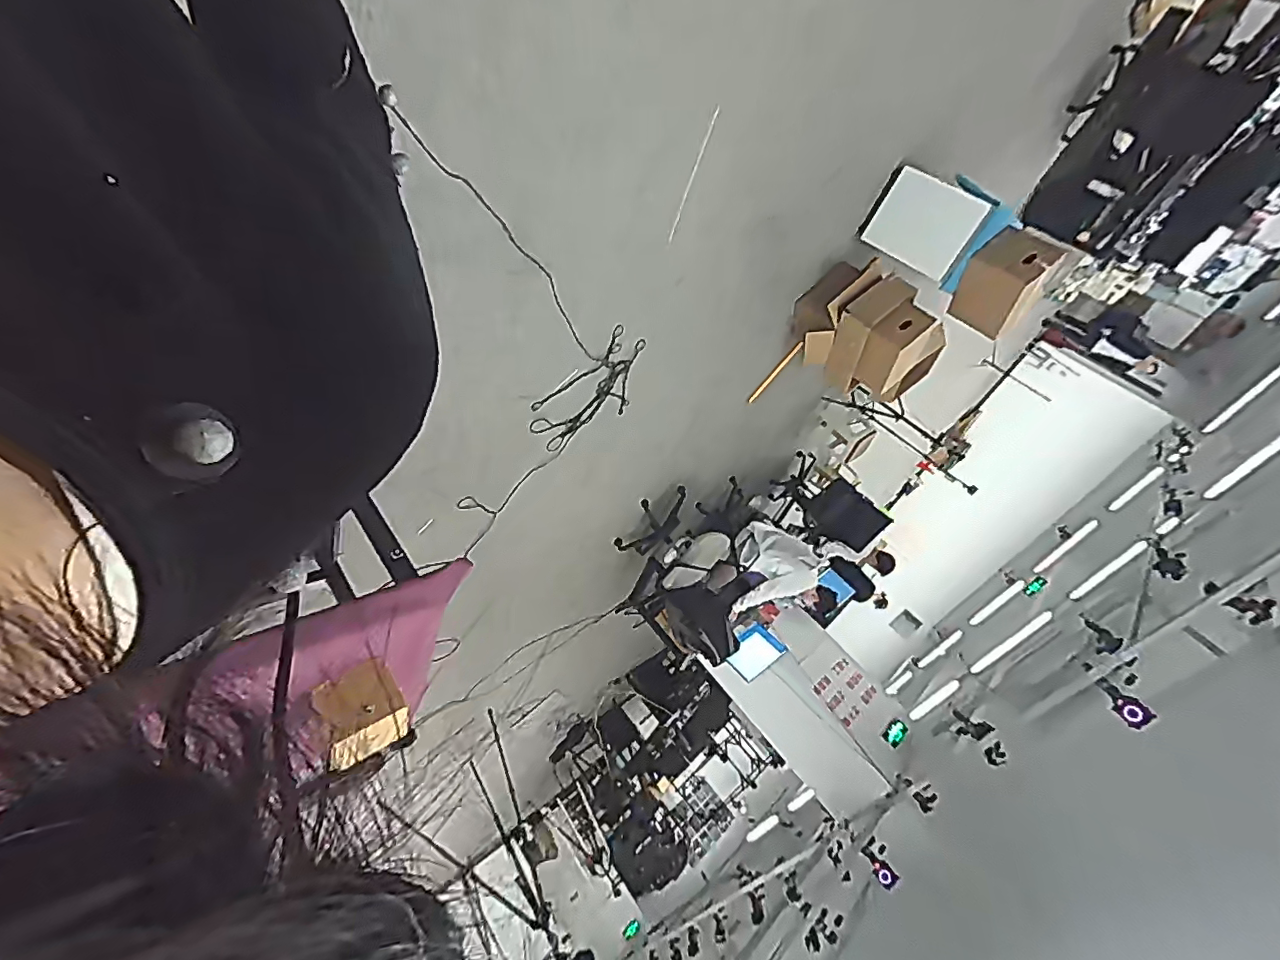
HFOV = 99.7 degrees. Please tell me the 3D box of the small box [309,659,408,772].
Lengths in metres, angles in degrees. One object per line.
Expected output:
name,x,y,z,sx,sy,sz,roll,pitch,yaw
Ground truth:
small box,-0.717,0.592,1.380,0.179,0.176,0.168,-20,144,-40
